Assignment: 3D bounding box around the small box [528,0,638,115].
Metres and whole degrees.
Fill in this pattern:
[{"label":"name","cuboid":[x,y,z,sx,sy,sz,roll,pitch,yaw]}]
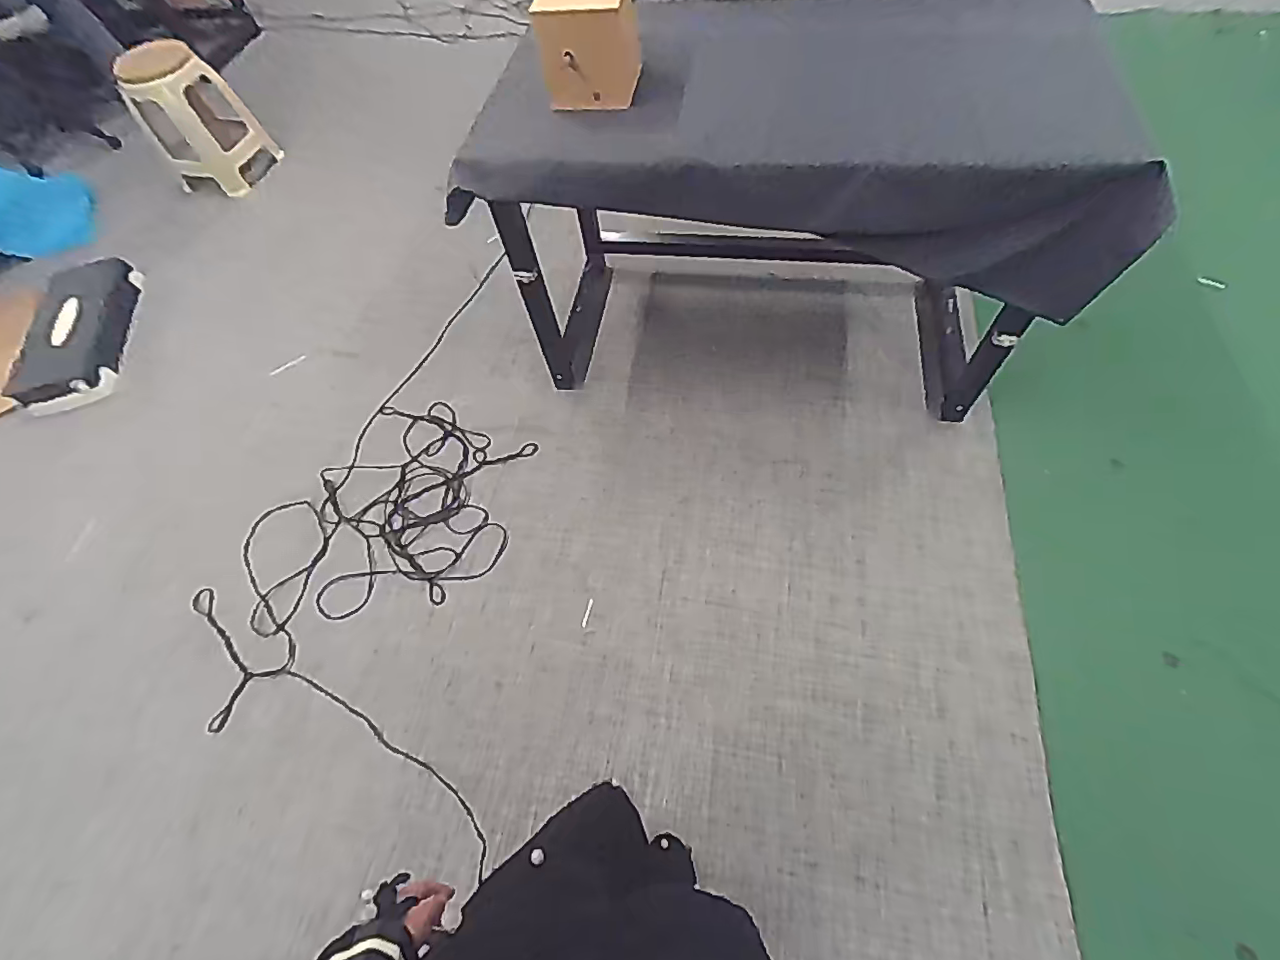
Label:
[{"label":"small box","cuboid":[-0.101,-0.847,1.062,0.168,0.176,0.179,5,60,8]}]
